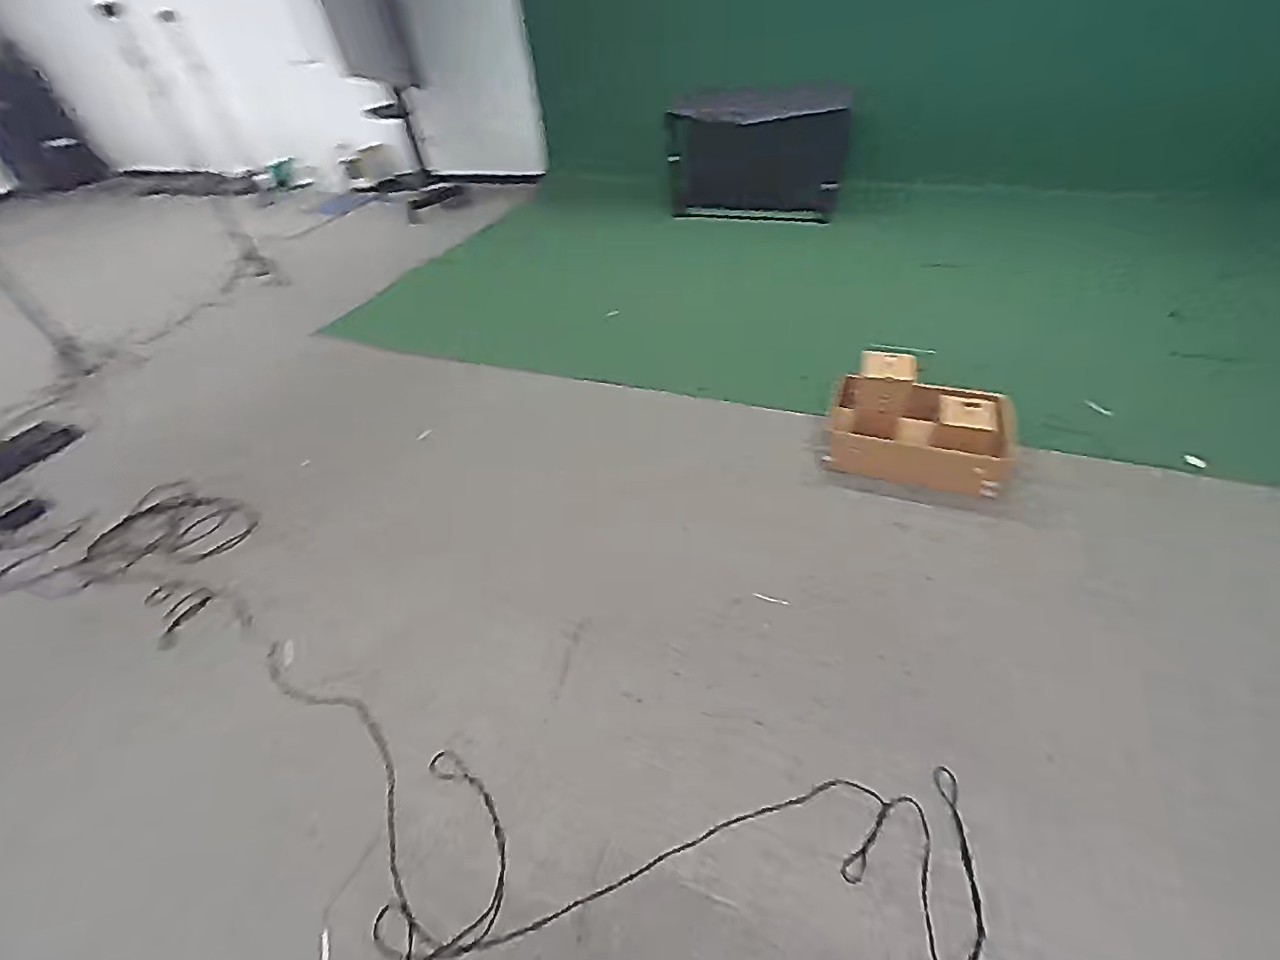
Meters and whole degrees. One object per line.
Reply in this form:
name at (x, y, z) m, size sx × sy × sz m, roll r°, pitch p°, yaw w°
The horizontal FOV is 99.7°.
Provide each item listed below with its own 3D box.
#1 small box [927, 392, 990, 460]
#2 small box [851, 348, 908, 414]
small box at (1.187, -0.203, 2.027) m, size 0.168 × 0.176 × 0.179 m, roll 10°, pitch 49°, yaw 18°
small box at (0.884, -0.365, 1.996) m, size 0.168 × 0.176 × 0.179 m, roll 10°, pitch 48°, yaw 17°
